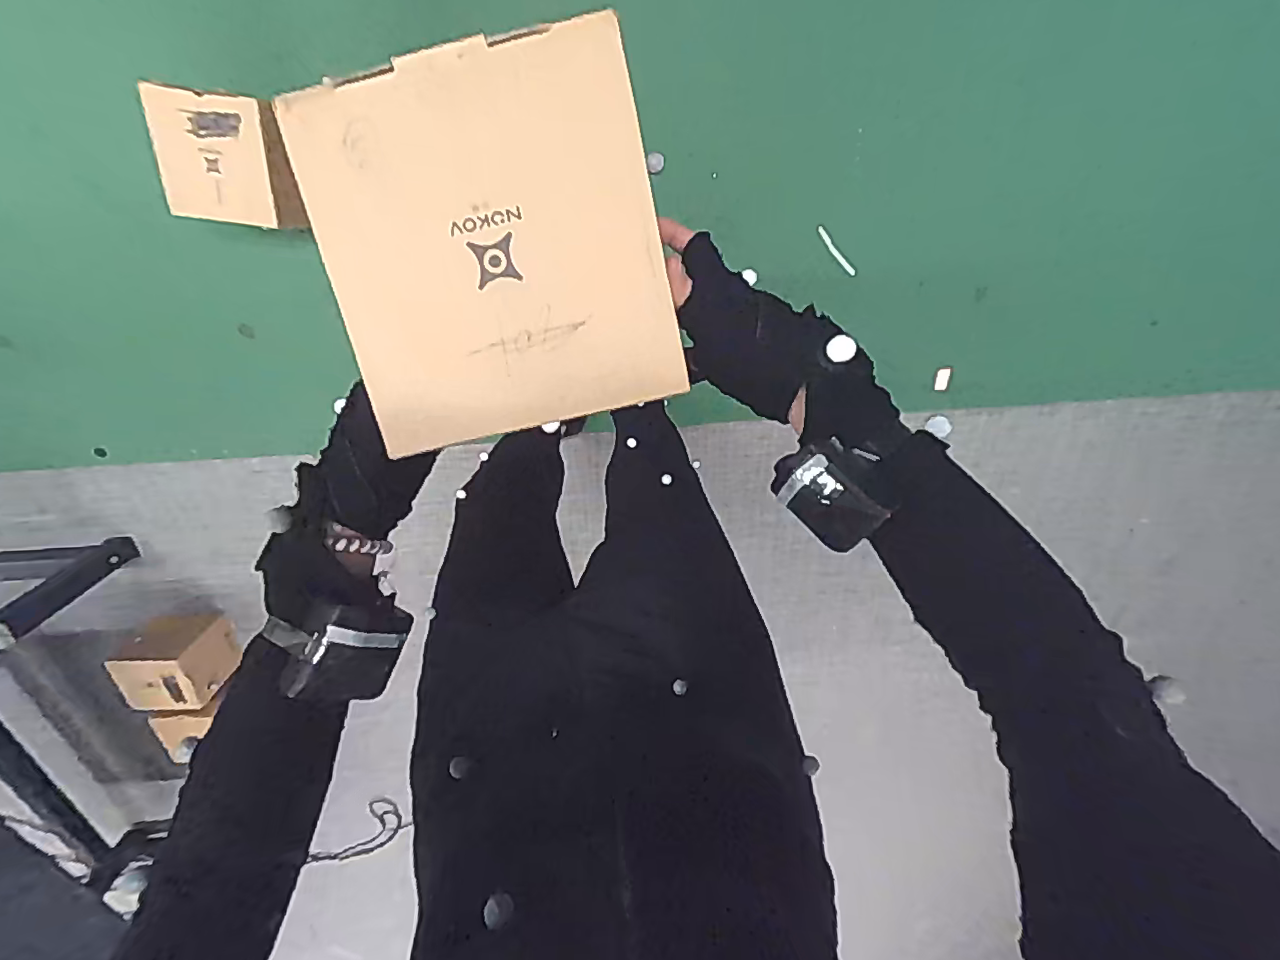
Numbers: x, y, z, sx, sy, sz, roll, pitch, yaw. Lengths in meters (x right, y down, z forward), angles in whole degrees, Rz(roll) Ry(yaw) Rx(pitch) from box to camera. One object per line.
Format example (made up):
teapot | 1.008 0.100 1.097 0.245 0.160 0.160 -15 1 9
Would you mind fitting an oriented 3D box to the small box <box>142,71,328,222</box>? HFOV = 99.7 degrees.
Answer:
small box | -0.641 -0.533 0.883 0.168 0.176 0.179 7 118 -4
